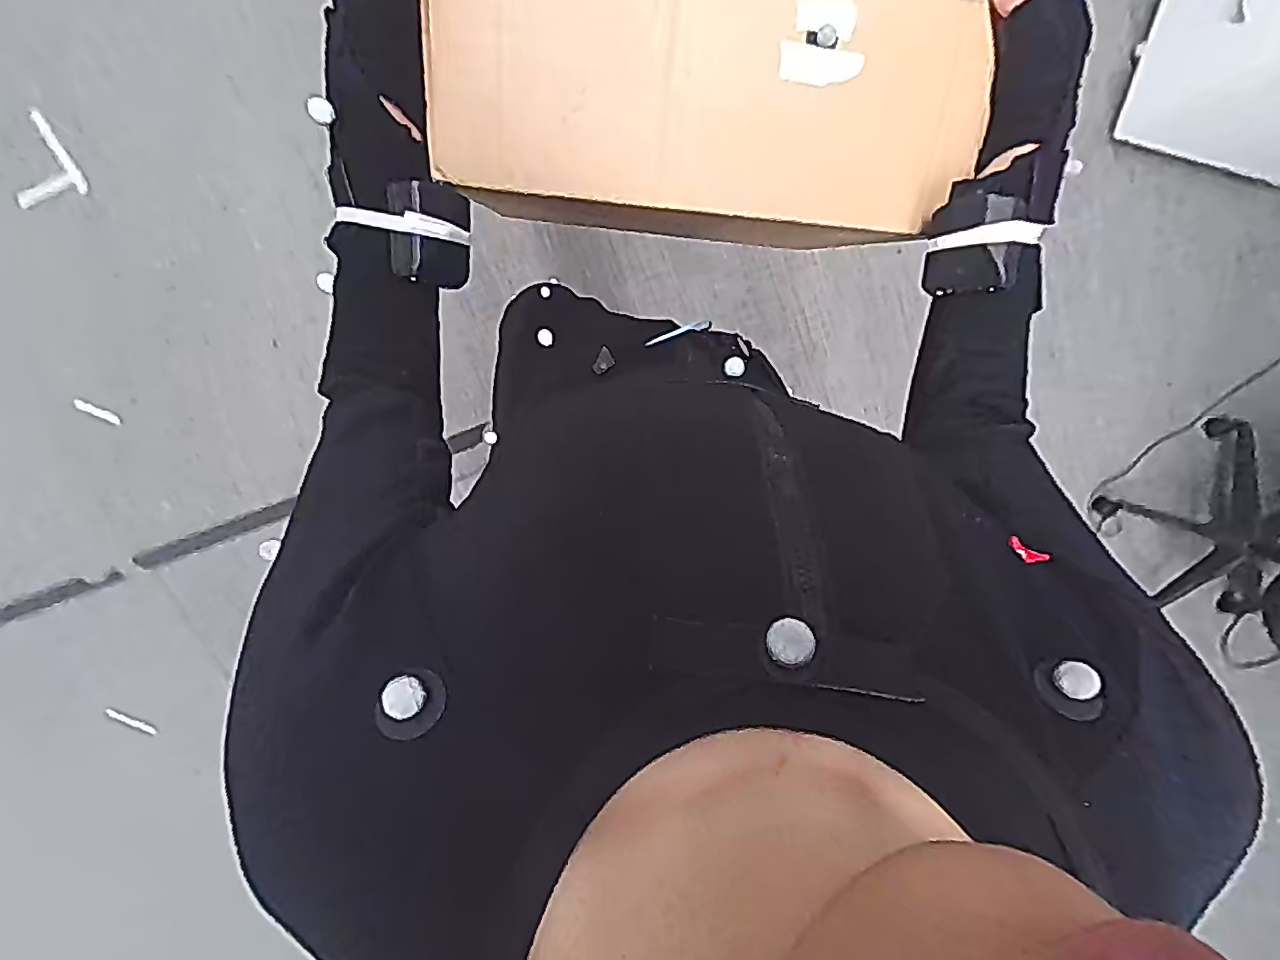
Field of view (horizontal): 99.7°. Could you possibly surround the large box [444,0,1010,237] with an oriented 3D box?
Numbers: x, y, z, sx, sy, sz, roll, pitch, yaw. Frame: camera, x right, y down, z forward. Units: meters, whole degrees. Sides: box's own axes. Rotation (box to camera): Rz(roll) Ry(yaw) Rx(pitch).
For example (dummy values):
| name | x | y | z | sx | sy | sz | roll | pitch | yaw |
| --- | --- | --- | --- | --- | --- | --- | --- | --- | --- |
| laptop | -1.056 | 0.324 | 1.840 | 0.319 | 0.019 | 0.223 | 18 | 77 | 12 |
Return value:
| name | x | y | z | sx | sy | sz | roll | pitch | yaw |
| --- | --- | --- | --- | --- | --- | --- | --- | --- | --- |
| large box | 0.054 | -0.415 | 0.500 | 0.408 | 0.320 | 0.320 | 3 | 113 | -7 |
